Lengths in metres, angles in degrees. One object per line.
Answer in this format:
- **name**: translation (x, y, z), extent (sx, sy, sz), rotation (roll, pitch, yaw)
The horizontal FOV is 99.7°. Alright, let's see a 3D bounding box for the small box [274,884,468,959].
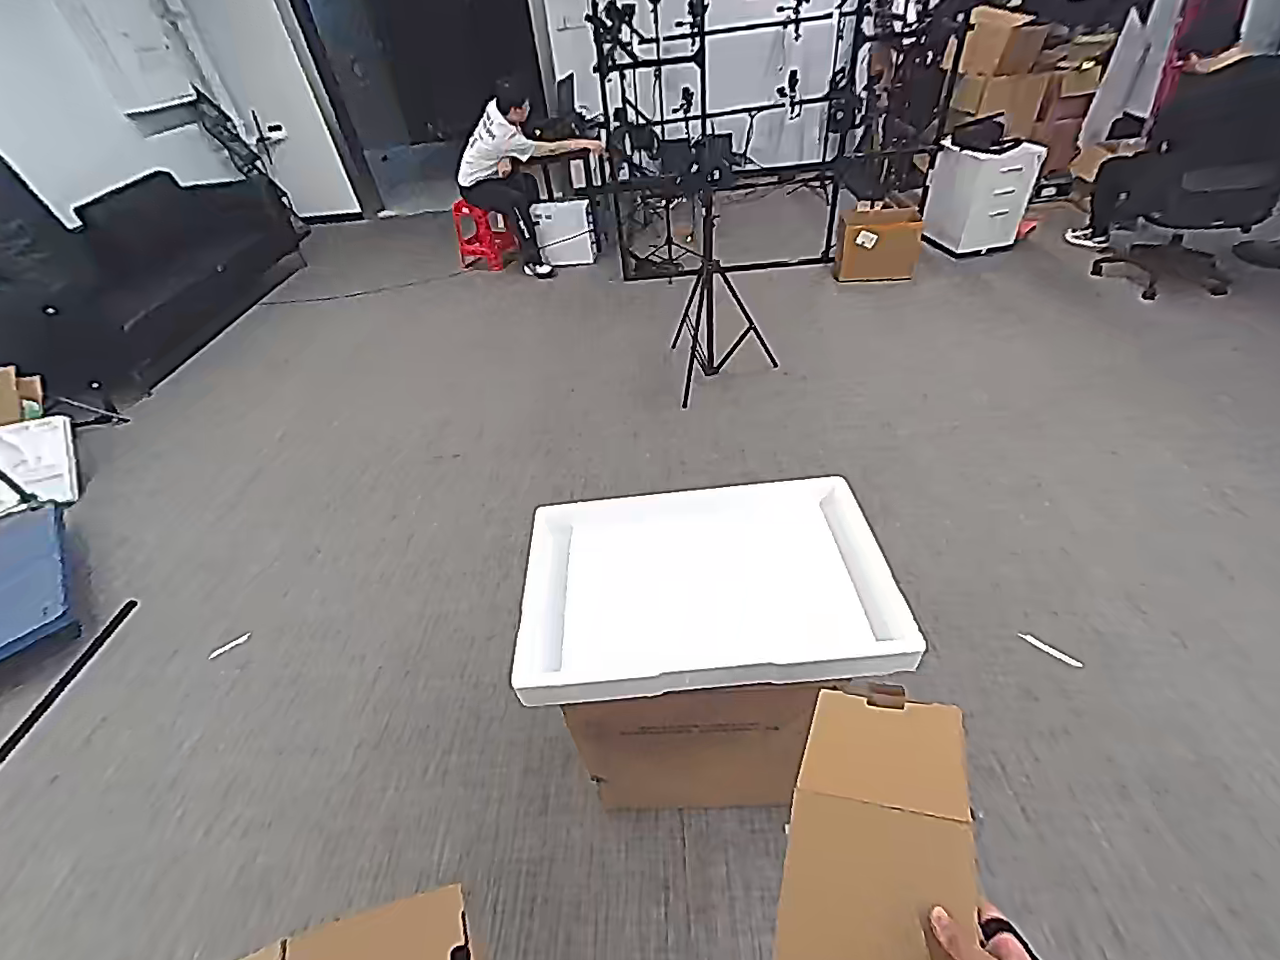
- **small box**: translation (-0.279, 0.572, 0.560), extent (0.179, 0.176, 0.168), rotation (3, 36, -31)
